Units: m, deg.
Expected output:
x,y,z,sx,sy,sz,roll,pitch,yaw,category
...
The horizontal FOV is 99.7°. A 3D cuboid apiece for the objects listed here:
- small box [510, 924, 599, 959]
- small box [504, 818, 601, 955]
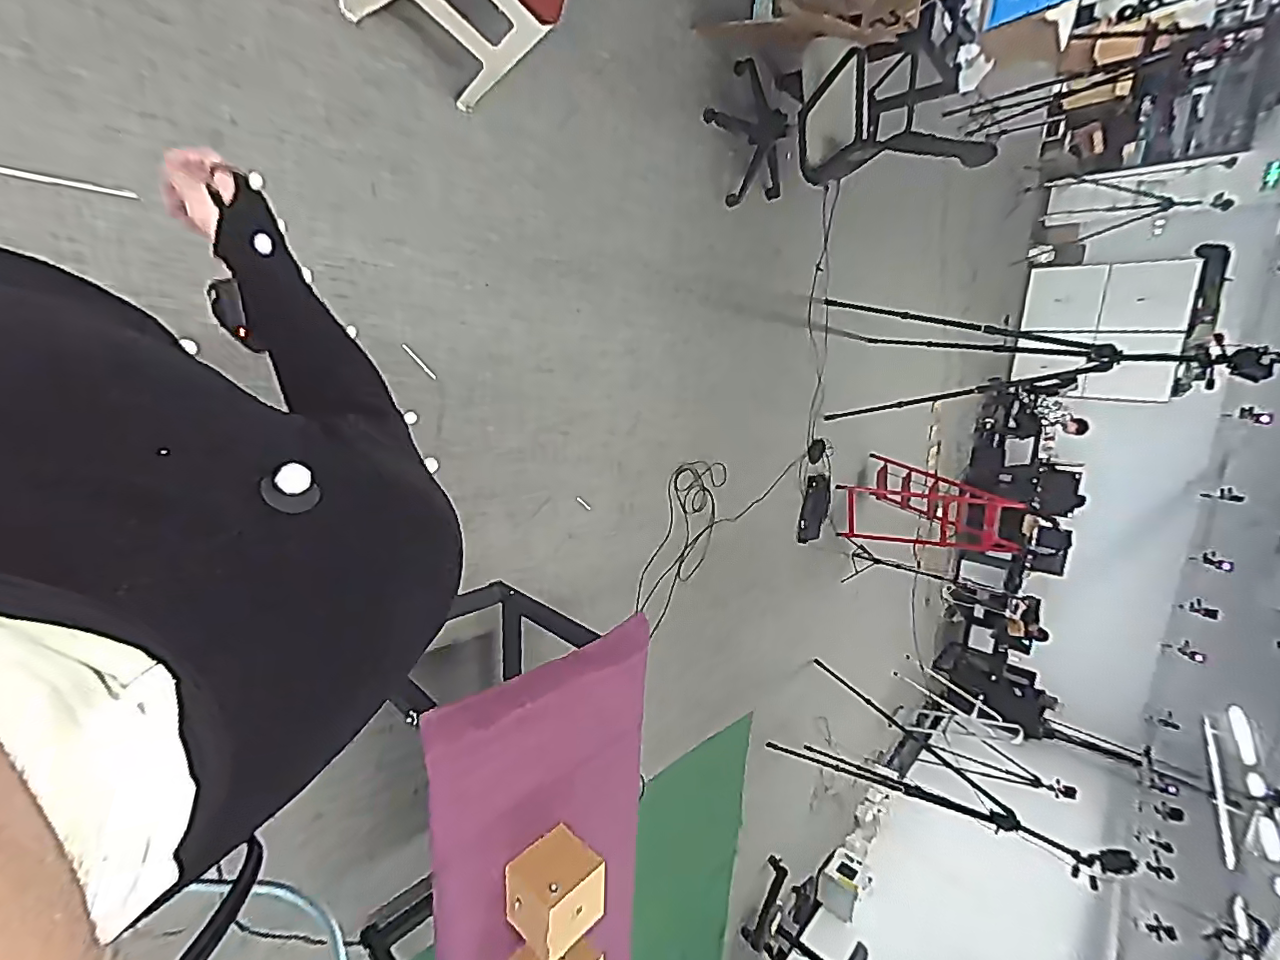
x,y,z,sx,sy,sz,roll,pitch,yaw,category
-0.228,1.274,1.404,0.179,0.176,0.168,-9,107,-47,small box
-0.218,0.993,1.342,0.179,0.176,0.168,-12,110,-45,small box
